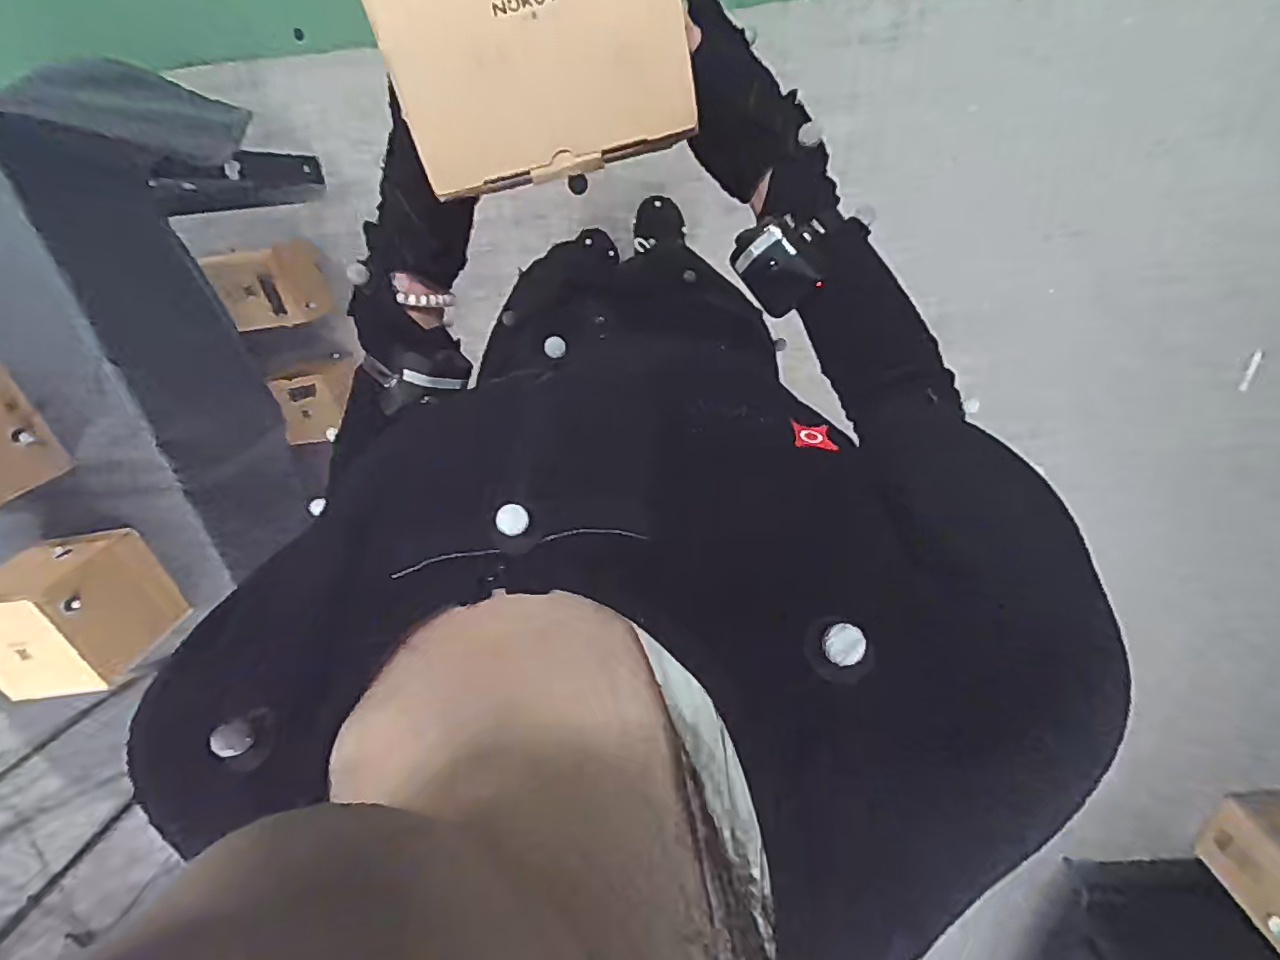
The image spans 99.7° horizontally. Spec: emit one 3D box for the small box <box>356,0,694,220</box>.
[{"bbox_3d":[-0.067,-0.292,0.354,0.168,0.176,0.179,-13,120,5],"label":"small box"}]

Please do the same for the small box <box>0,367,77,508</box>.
[{"bbox_3d":[-0.920,-0.037,0.700,0.179,0.176,0.168,-6,119,5],"label":"small box"}]

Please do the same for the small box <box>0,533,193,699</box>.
[{"bbox_3d":[-0.855,0.205,0.831,0.168,0.176,0.179,-8,118,6],"label":"small box"}]

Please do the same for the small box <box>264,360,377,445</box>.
[{"bbox_3d":[-0.832,-0.211,1.429,0.168,0.176,0.179,-5,120,4],"label":"small box"}]
